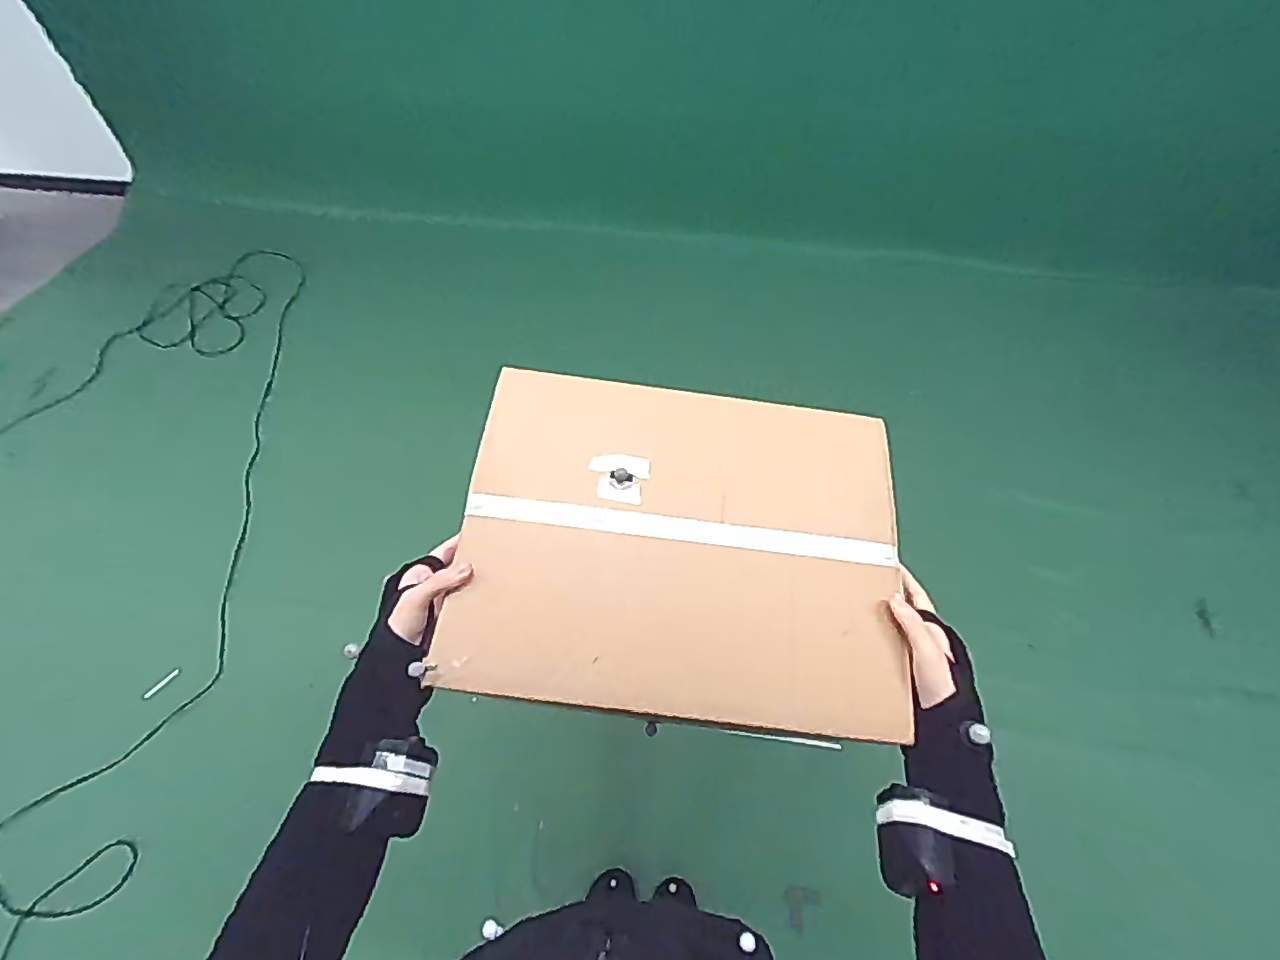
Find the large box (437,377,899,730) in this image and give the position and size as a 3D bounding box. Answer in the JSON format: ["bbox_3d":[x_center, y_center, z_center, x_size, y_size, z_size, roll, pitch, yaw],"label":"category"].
[{"bbox_3d":[0.033,0.107,0.651,0.408,0.320,0.320,7,66,0],"label":"large box"}]
